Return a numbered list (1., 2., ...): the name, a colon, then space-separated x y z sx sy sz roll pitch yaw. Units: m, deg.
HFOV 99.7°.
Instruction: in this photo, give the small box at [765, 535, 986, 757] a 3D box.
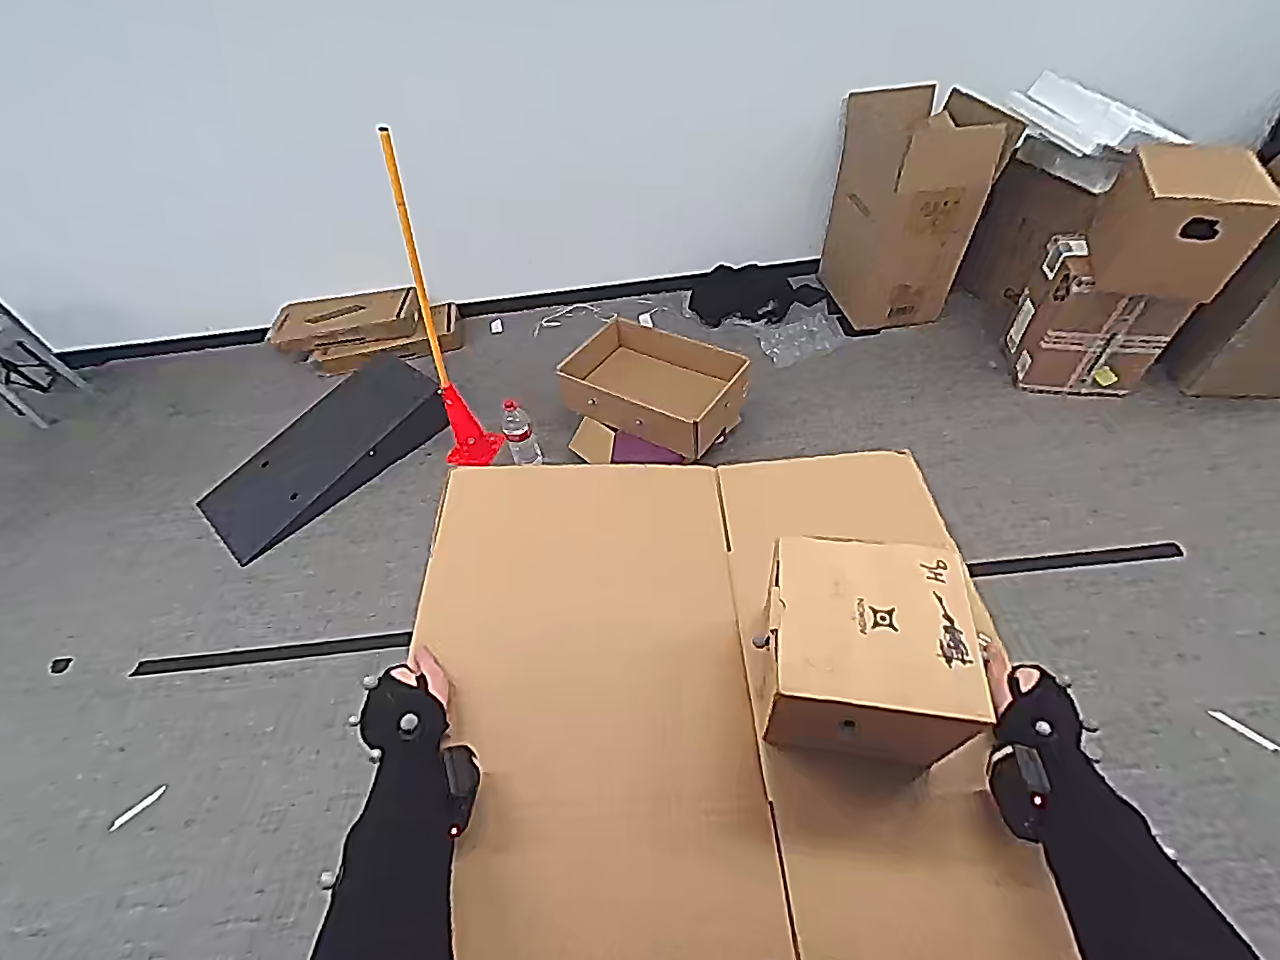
1. small box: 0.226 0.177 0.571 0.179 0.176 0.168 4 52 12
